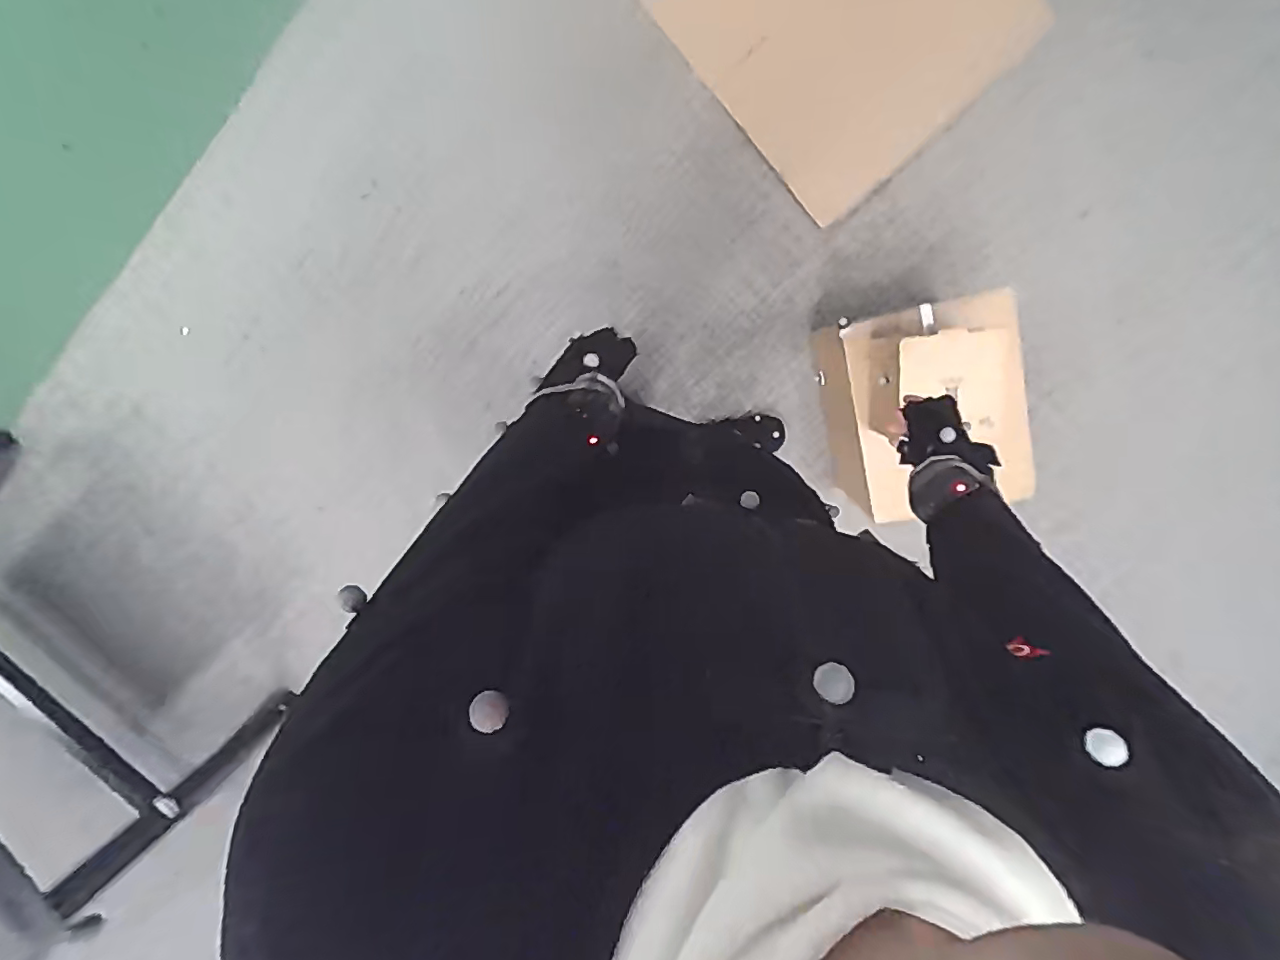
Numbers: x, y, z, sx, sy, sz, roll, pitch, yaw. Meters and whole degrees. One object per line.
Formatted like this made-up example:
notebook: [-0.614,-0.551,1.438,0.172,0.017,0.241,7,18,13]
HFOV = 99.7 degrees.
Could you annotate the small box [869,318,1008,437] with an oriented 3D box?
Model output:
small box: [0.516,-0.181,0.954,0.168,0.176,0.179,-7,103,7]
